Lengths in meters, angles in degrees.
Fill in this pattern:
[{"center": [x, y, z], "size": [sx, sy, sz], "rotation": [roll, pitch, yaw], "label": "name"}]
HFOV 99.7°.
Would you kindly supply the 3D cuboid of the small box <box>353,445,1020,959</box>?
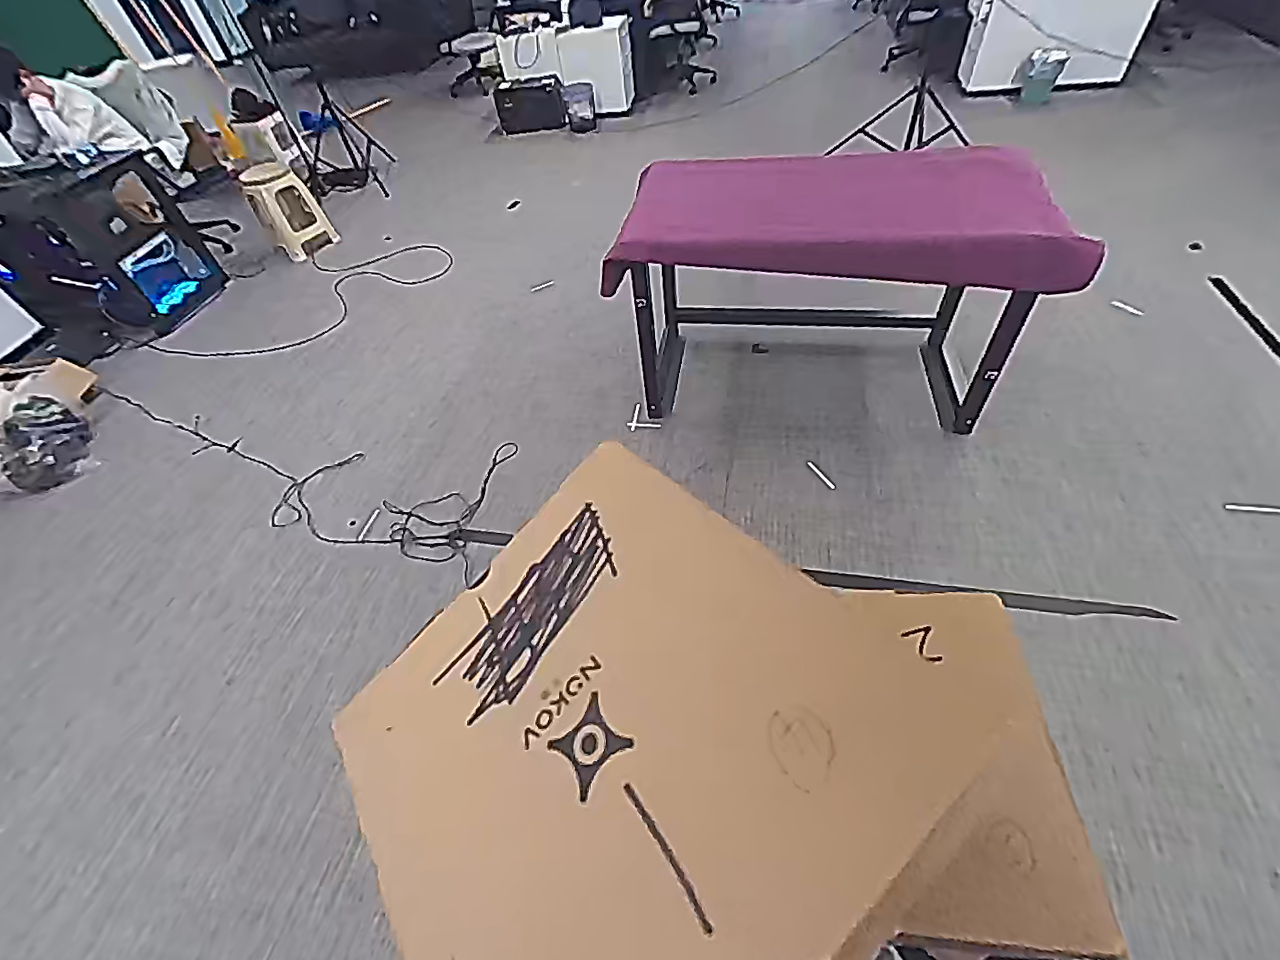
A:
[{"center": [0.021, 0.121, 0.234], "size": [0.168, 0.176, 0.179], "rotation": [-47, 47, -6], "label": "small box"}]
